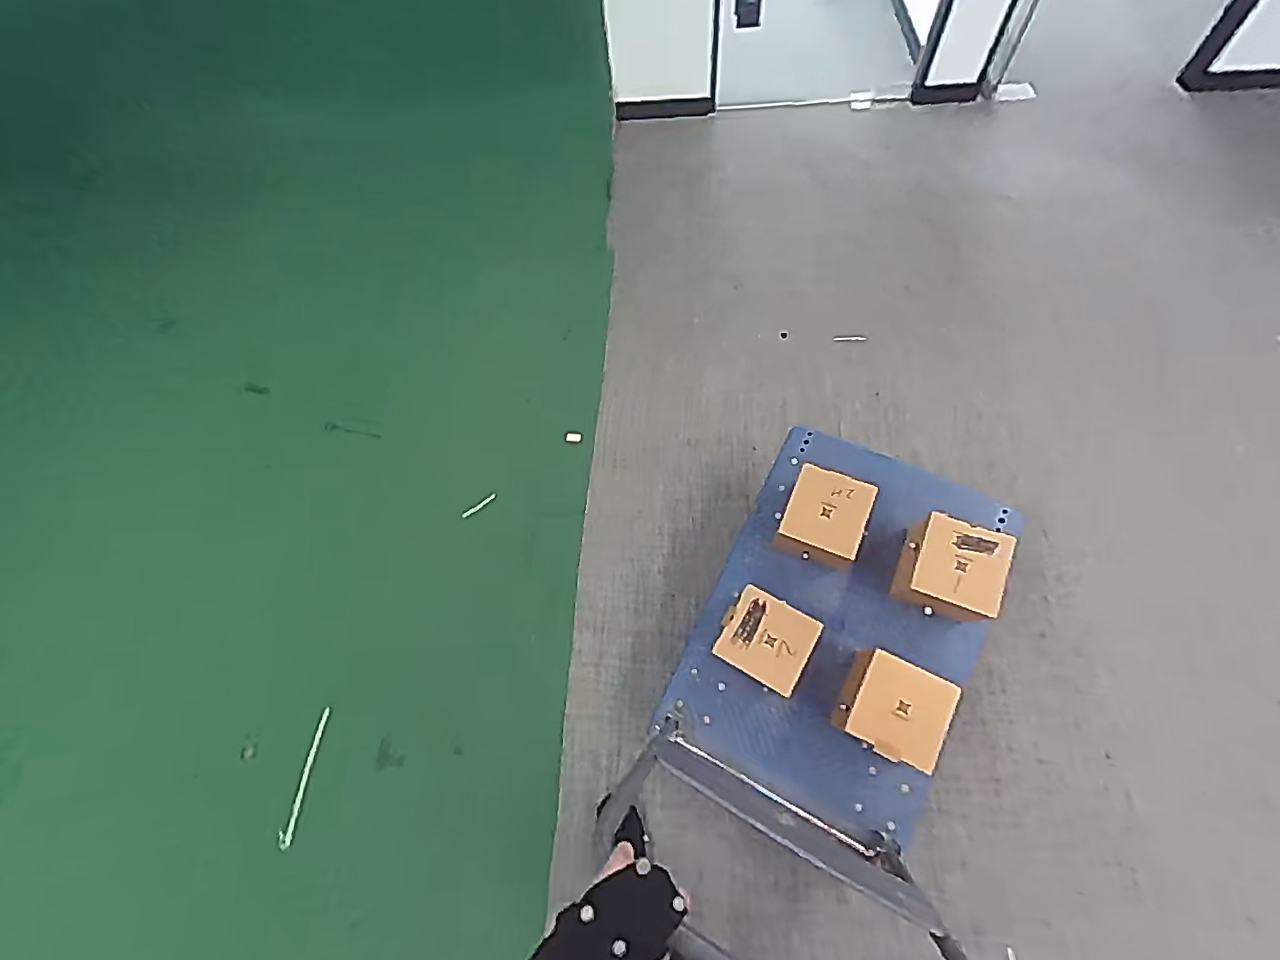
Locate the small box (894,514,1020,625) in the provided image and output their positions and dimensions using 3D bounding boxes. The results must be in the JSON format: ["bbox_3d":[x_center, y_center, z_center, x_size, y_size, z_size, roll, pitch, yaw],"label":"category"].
[{"bbox_3d":[0.673,0.198,1.166,0.168,0.176,0.179,21,77,16],"label":"small box"}]

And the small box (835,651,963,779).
[{"bbox_3d":[0.517,0.467,1.106,0.168,0.176,0.179,25,79,16],"label":"small box"}]

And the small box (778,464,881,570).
[{"bbox_3d":[0.426,0.091,1.241,0.168,0.176,0.179,22,77,14],"label":"small box"}]
